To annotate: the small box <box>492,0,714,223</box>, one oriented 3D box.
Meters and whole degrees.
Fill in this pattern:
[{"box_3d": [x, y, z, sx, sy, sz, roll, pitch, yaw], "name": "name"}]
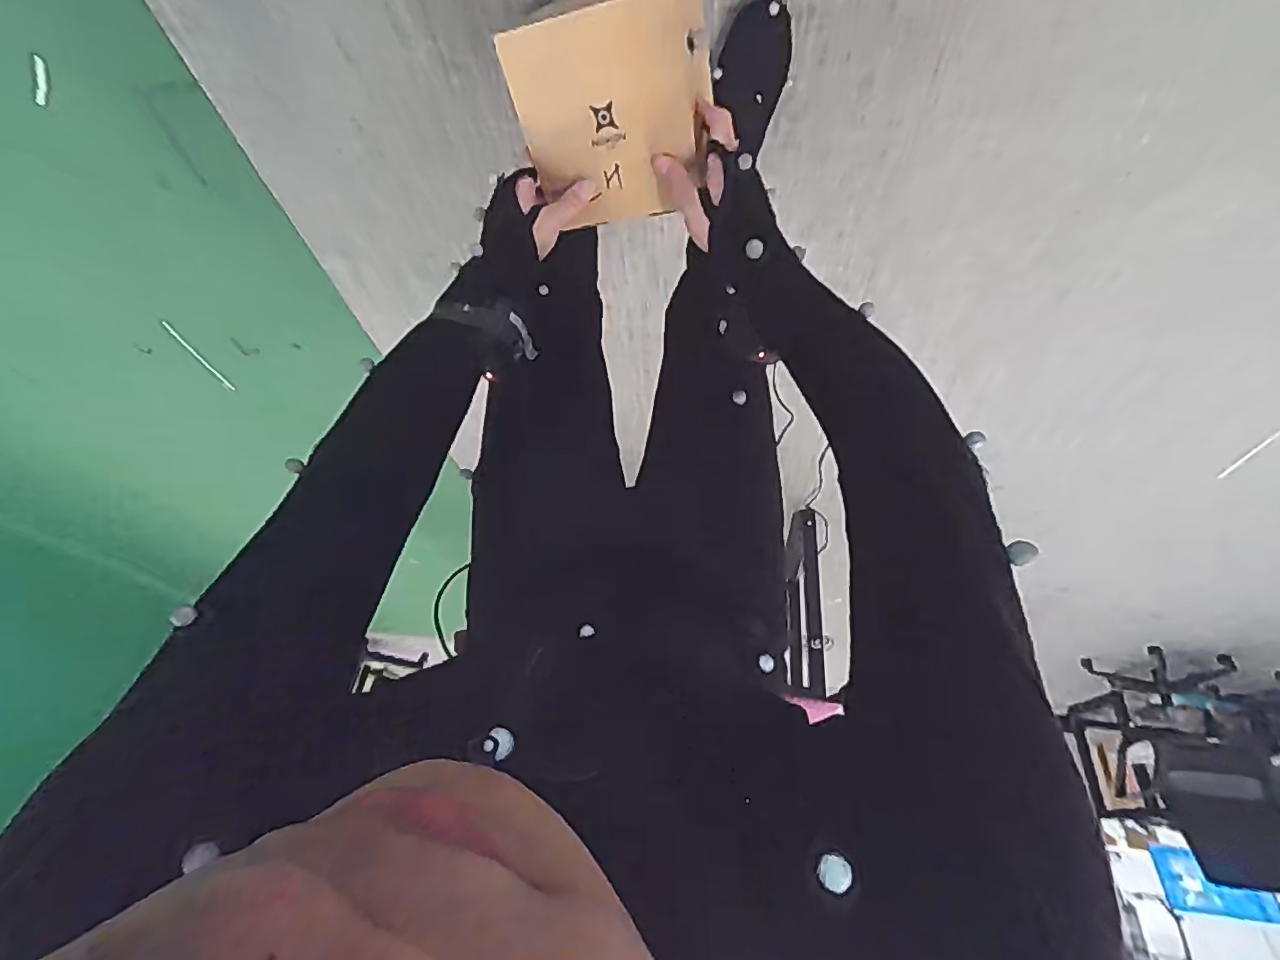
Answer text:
[{"box_3d": [-0.020, -0.396, 0.555, 0.168, 0.176, 0.179, -1, 137, 17], "name": "small box"}]
